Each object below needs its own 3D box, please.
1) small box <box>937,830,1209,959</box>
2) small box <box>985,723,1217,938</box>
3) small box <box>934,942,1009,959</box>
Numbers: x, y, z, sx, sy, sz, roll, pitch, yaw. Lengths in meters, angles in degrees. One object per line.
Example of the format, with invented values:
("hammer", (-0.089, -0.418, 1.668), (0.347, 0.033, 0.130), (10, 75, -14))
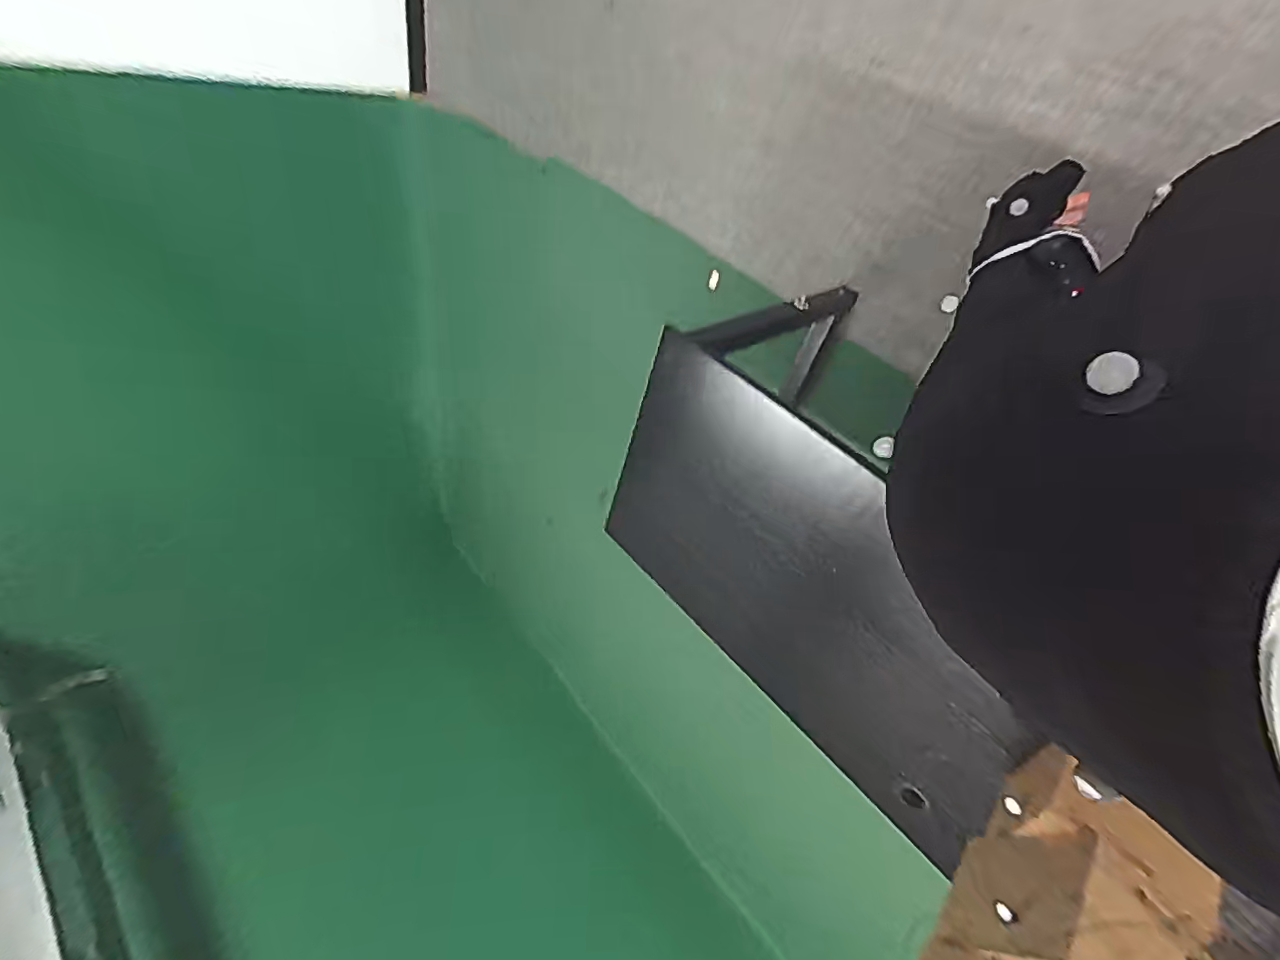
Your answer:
("small box", (0.485, 0.526, 0.604), (0.168, 0.176, 0.179), (52, 141, 15))
("small box", (0.598, 0.465, 0.707), (0.168, 0.176, 0.179), (36, 134, 31))
("small box", (0.370, 0.591, 0.506), (0.168, 0.176, 0.179), (59, 141, 7))
